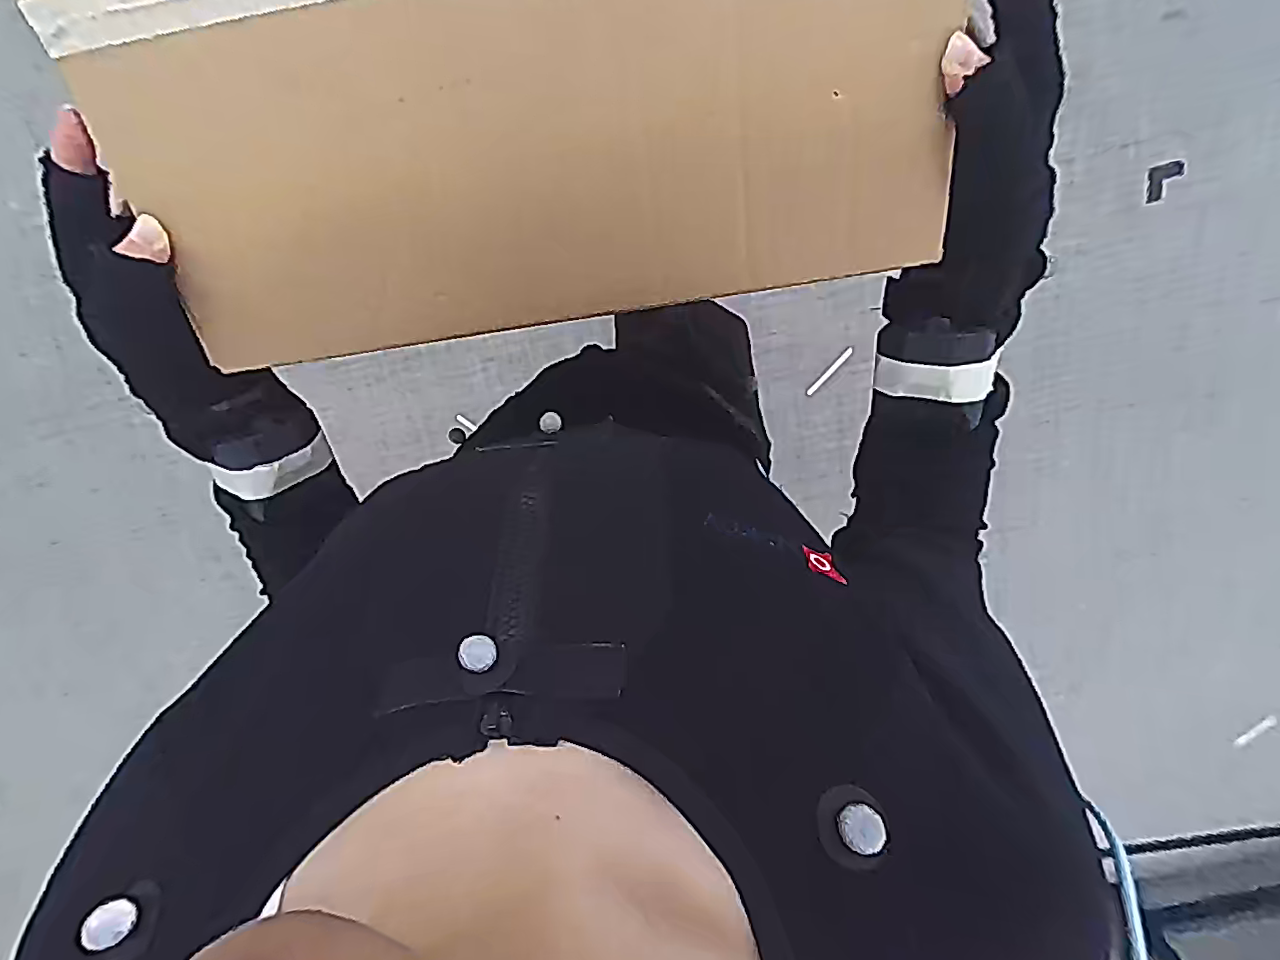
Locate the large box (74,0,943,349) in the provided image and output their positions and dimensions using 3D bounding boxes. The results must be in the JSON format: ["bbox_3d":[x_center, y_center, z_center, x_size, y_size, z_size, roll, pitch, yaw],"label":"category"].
[{"bbox_3d":[-0.066,-0.307,0.371,0.408,0.320,0.320,-8,118,4],"label":"large box"}]
